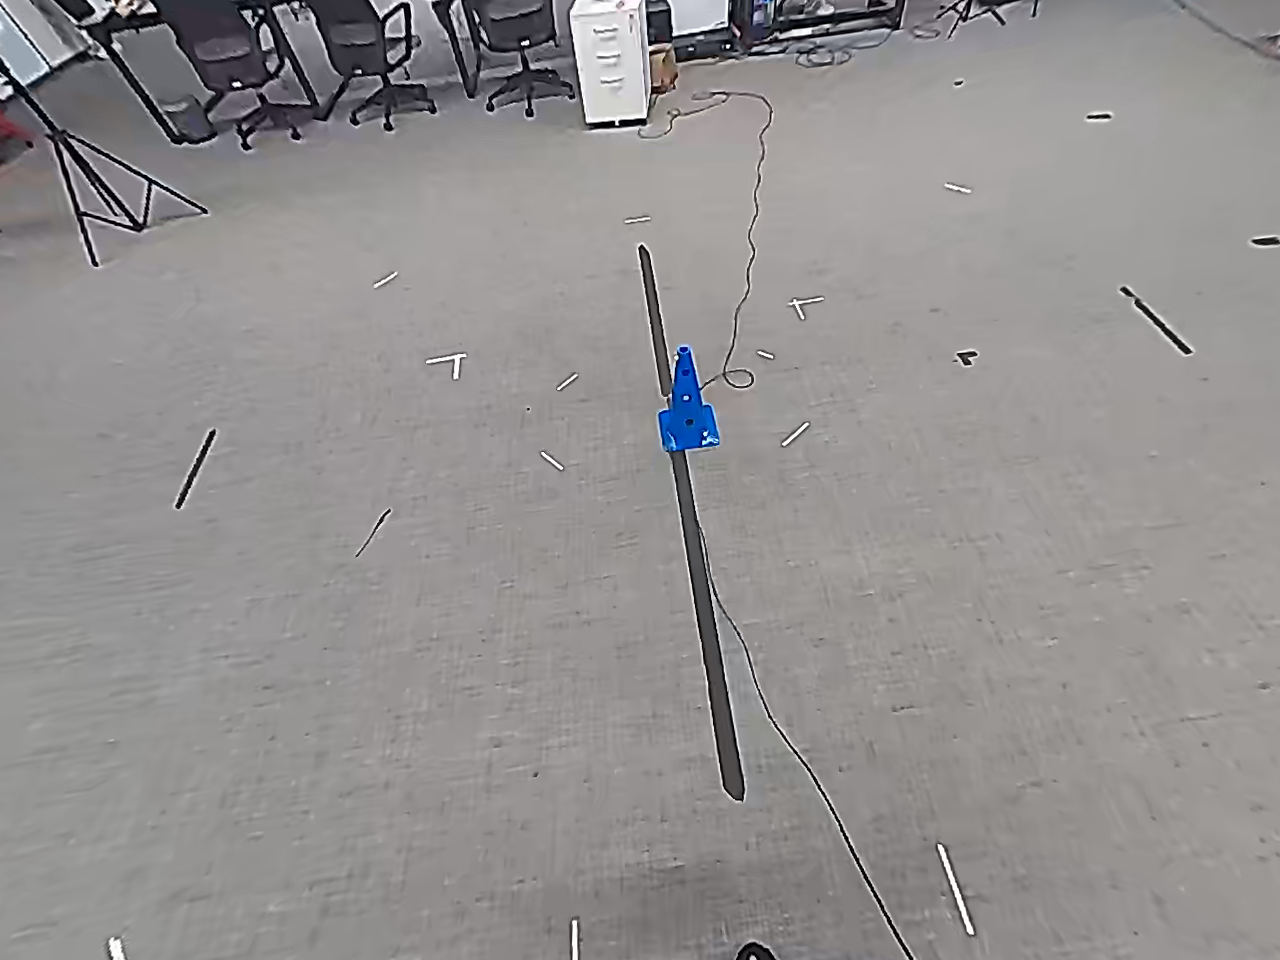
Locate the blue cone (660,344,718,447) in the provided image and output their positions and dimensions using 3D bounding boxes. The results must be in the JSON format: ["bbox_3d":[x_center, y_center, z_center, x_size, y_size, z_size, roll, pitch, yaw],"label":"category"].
[{"bbox_3d":[0.155,-0.298,1.794,0.193,0.380,0.192,-9,52,0],"label":"blue cone"}]
